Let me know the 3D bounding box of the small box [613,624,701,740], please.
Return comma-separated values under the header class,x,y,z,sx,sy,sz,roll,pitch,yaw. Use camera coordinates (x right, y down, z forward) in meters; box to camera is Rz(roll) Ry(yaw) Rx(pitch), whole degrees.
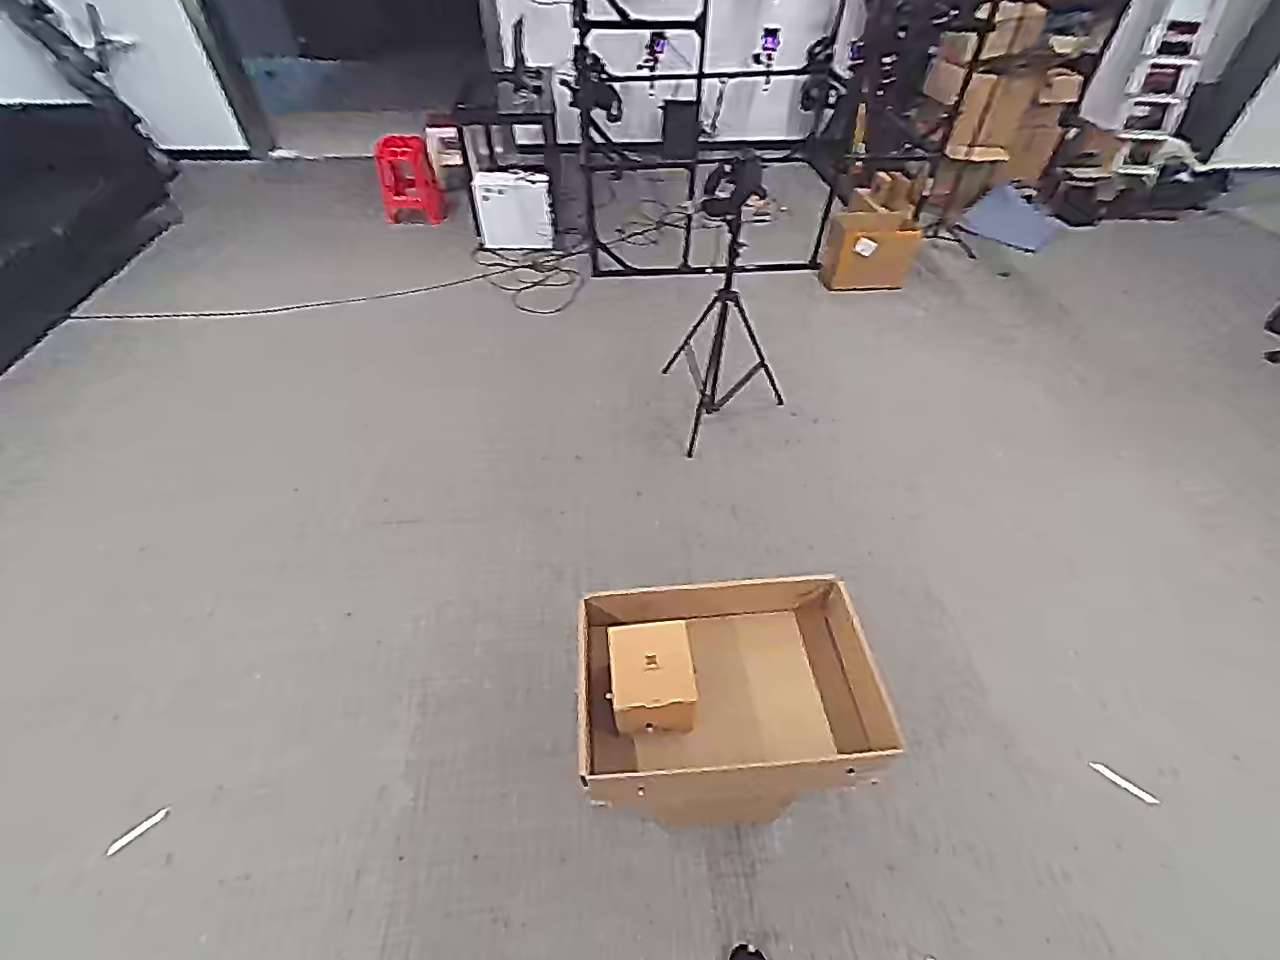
class,x,y,z,sx,sy,sz,roll,pitch,yaw
small box,0.029,0.431,1.155,0.168,0.176,0.179,-5,47,-4
